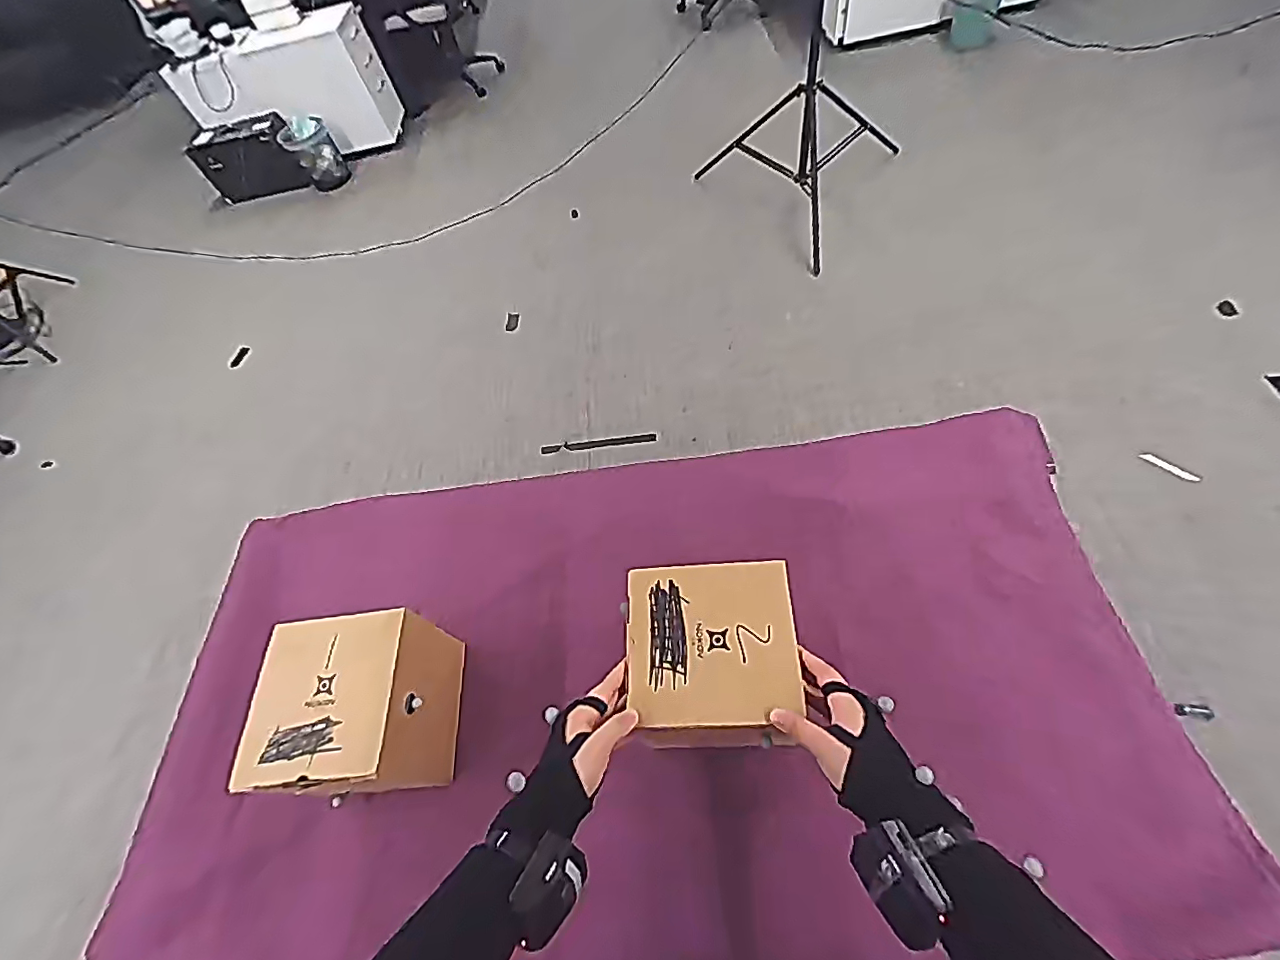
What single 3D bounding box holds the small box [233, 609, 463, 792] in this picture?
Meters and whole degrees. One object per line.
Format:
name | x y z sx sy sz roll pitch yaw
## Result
small box | -0.331 0.275 0.657 0.168 0.176 0.179 -8 57 5
